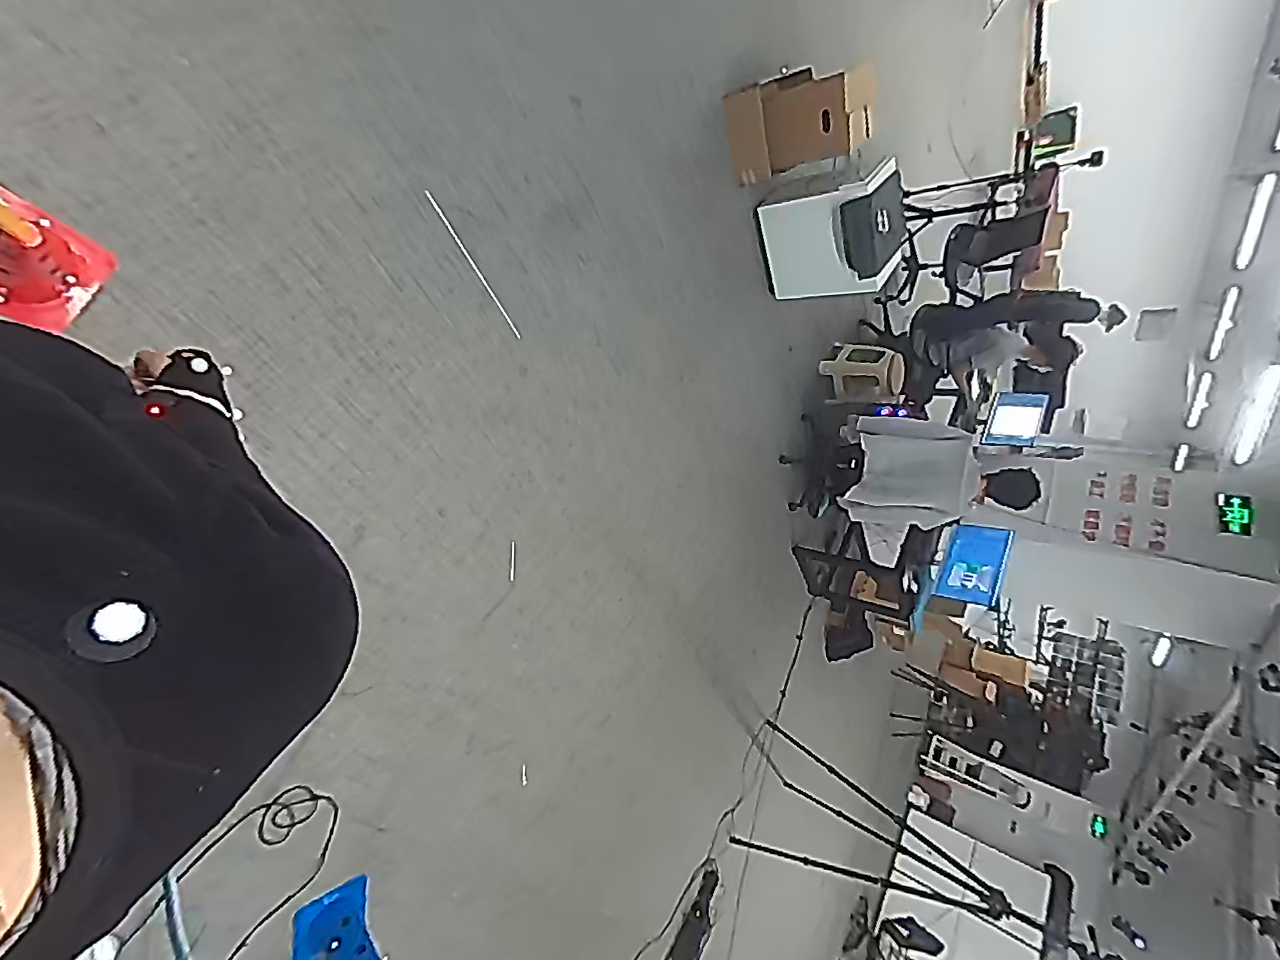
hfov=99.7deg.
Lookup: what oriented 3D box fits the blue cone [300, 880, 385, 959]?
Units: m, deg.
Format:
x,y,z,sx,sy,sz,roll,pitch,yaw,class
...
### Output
x,y,z,sx,sy,sz,roll,pitch,yaw,class
-0.768,1.323,1.494,0.193,0.380,0.192,-5,101,-52,blue cone
